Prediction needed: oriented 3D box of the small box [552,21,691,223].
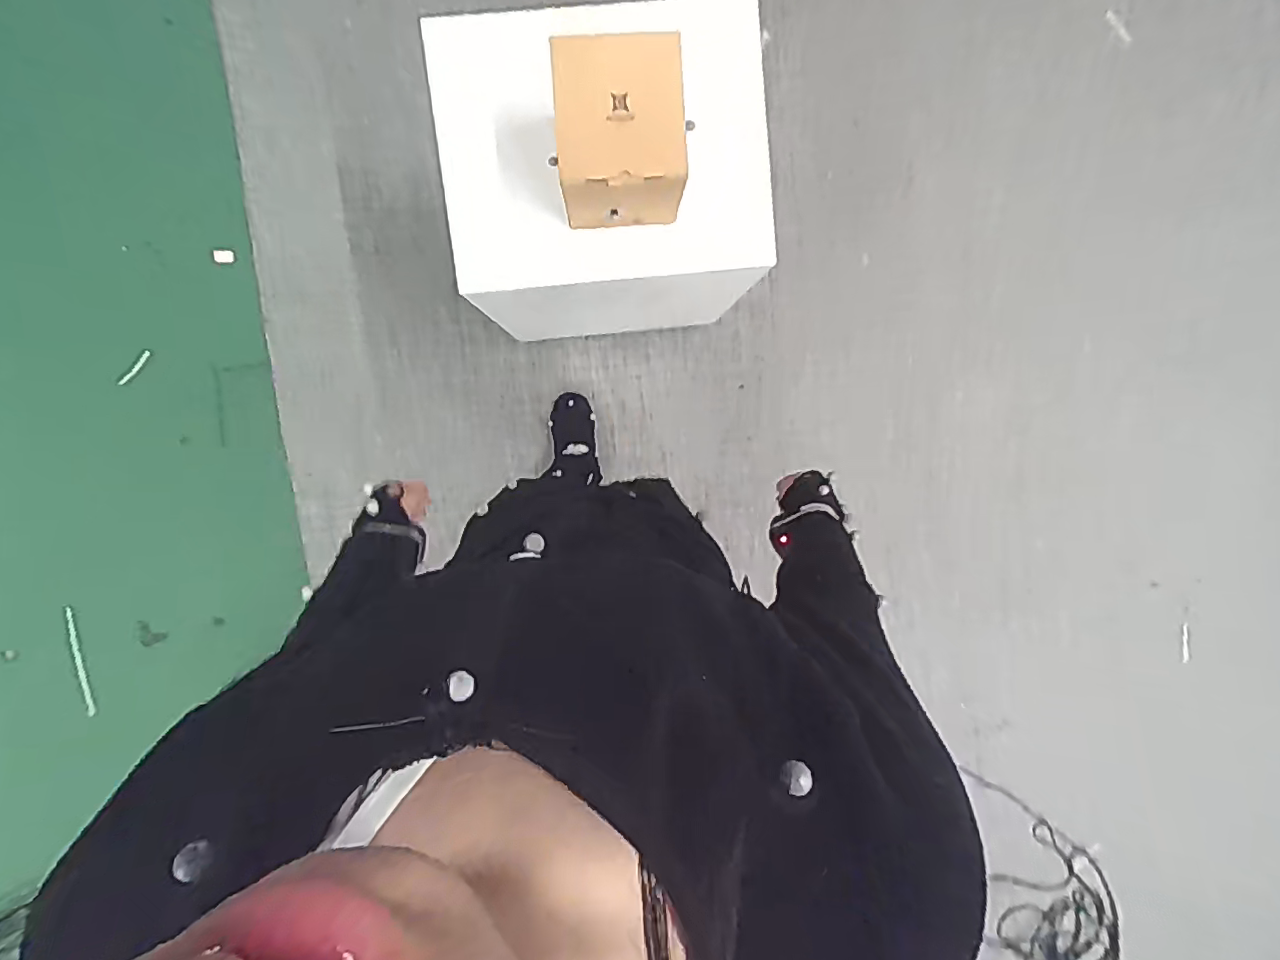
[{"bbox_3d":[-0.027,-0.479,0.746,0.168,0.176,0.179,-5,97,-2],"label":"small box"}]
